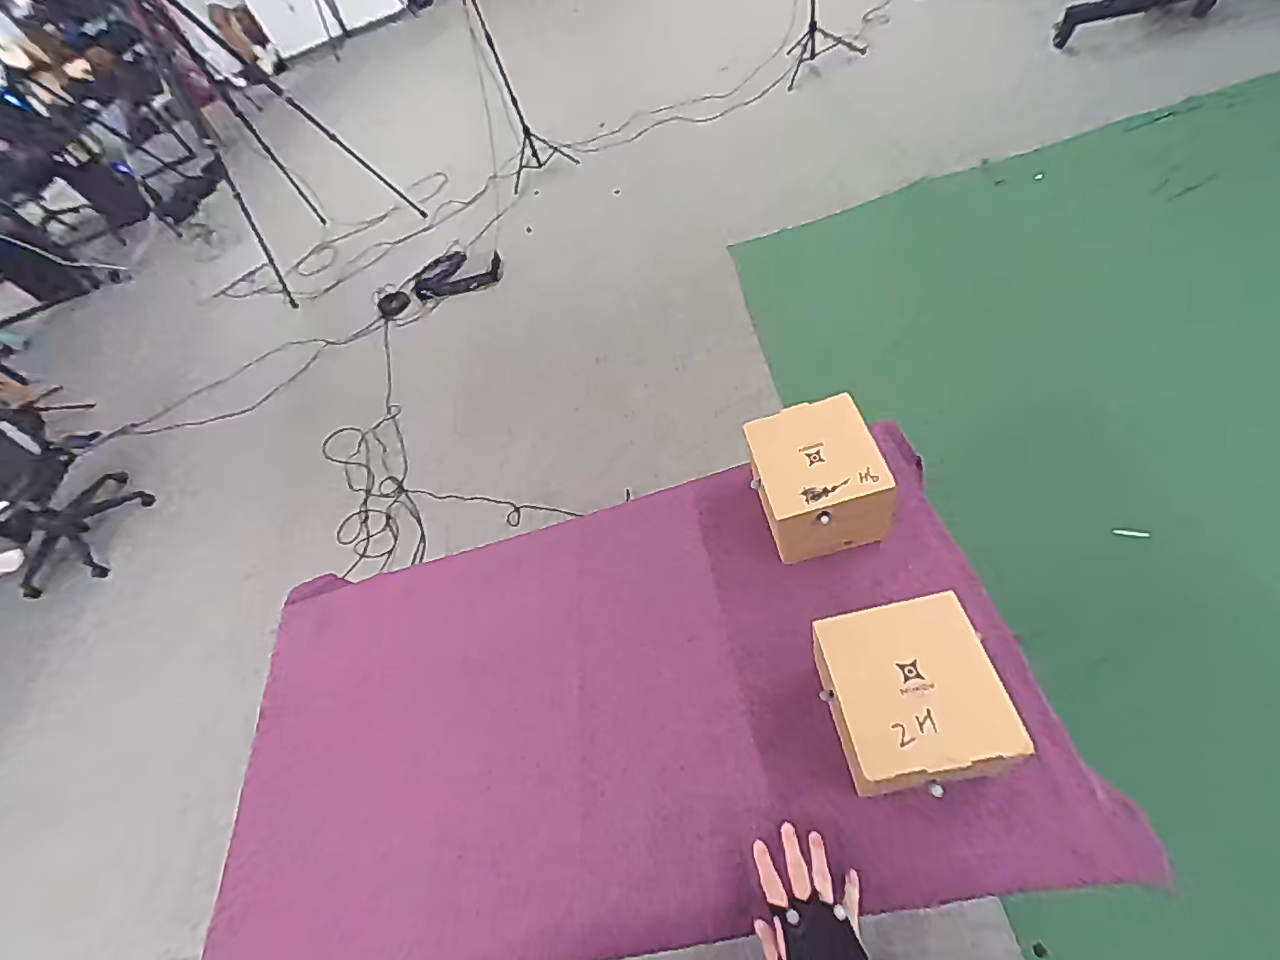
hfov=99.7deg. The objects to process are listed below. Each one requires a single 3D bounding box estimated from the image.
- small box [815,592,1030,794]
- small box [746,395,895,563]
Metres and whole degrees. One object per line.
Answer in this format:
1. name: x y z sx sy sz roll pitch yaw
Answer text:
1. small box: 0.317 0.262 0.653 0.168 0.176 0.179 -15 53 9
2. small box: 0.272 0.004 0.840 0.168 0.176 0.179 -17 55 9
